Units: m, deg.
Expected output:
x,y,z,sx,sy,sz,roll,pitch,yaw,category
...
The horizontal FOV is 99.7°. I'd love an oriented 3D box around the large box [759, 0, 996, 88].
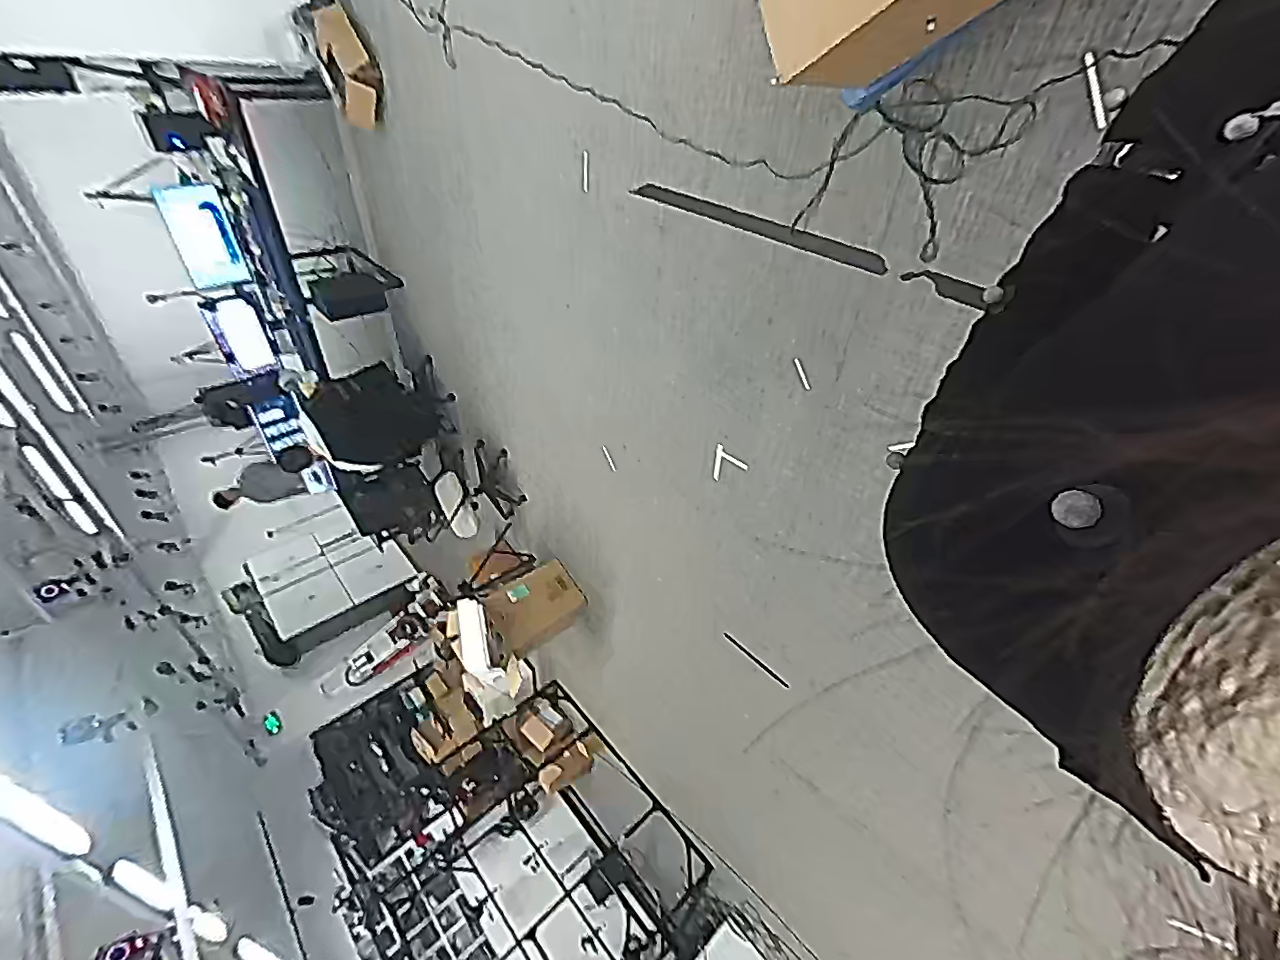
x,y,z,sx,sy,sz,roll,pitch,yaw,category
0.439,-0.923,0.882,0.408,0.320,0.320,-2,110,54,large box
